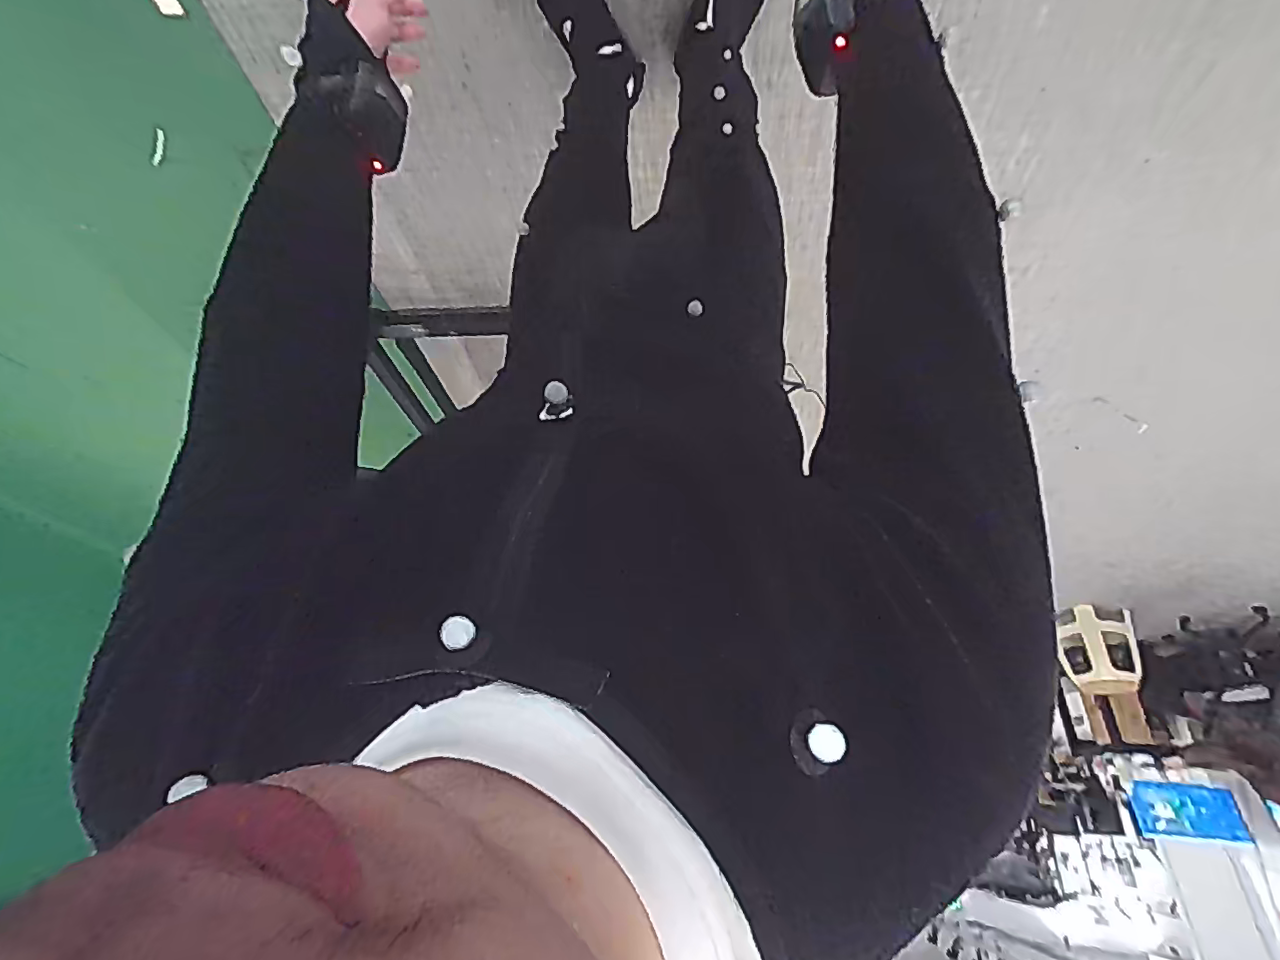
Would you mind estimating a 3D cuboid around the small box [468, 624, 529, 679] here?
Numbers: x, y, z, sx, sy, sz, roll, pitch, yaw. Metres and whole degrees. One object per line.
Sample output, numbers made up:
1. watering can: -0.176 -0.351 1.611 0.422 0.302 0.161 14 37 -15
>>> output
1. small box: -0.548 0.673 2.118 0.168 0.176 0.179 1 148 8
